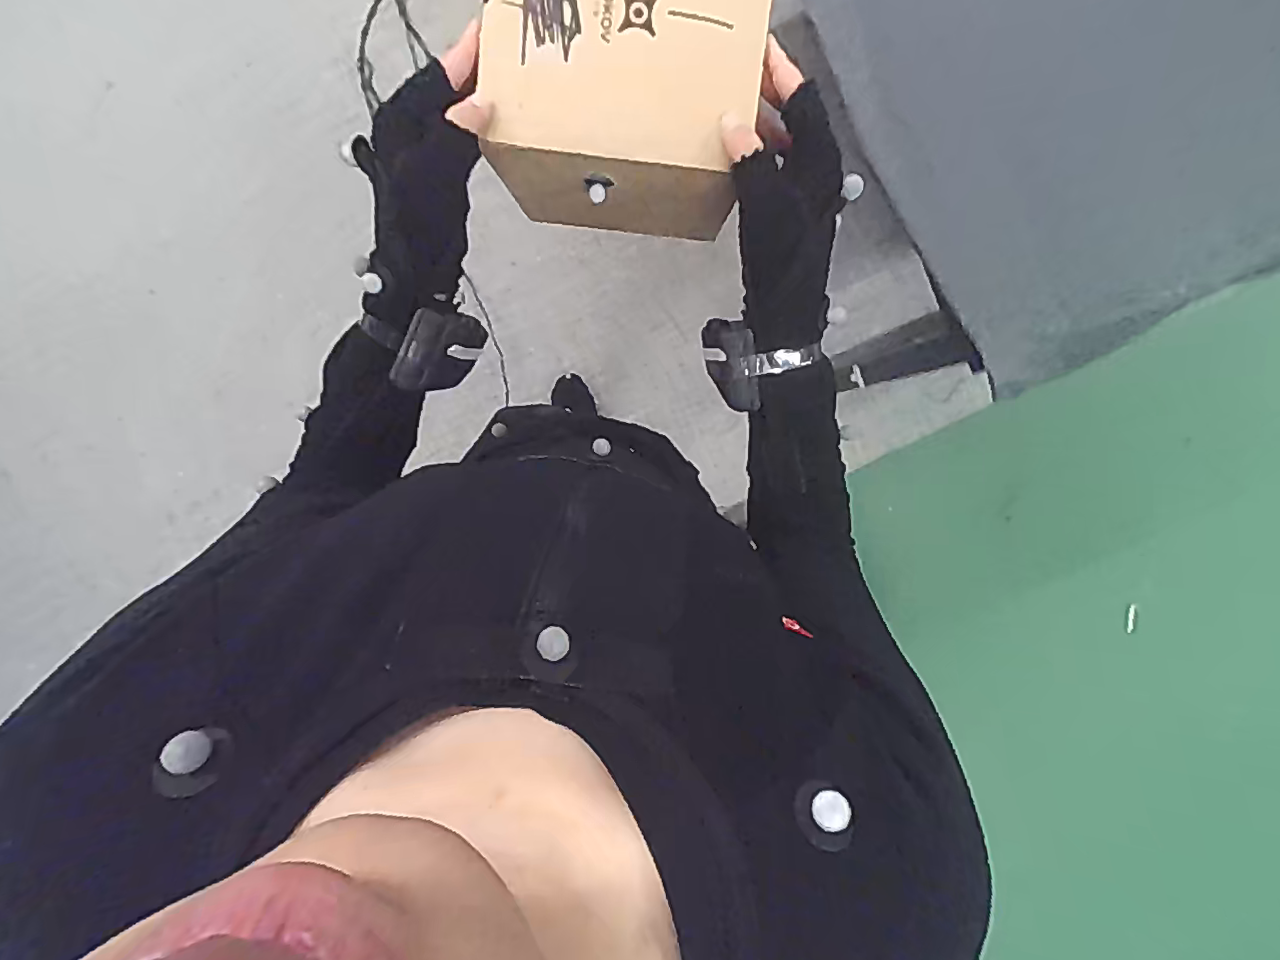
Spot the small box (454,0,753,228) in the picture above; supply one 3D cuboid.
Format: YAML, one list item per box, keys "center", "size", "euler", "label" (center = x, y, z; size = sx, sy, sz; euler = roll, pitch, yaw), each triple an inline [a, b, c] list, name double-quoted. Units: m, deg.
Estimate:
- center: [-0.019, -0.299, 0.397]
  size: [0.179, 0.176, 0.168]
  euler: [5, 101, -1]
  label: "small box"
